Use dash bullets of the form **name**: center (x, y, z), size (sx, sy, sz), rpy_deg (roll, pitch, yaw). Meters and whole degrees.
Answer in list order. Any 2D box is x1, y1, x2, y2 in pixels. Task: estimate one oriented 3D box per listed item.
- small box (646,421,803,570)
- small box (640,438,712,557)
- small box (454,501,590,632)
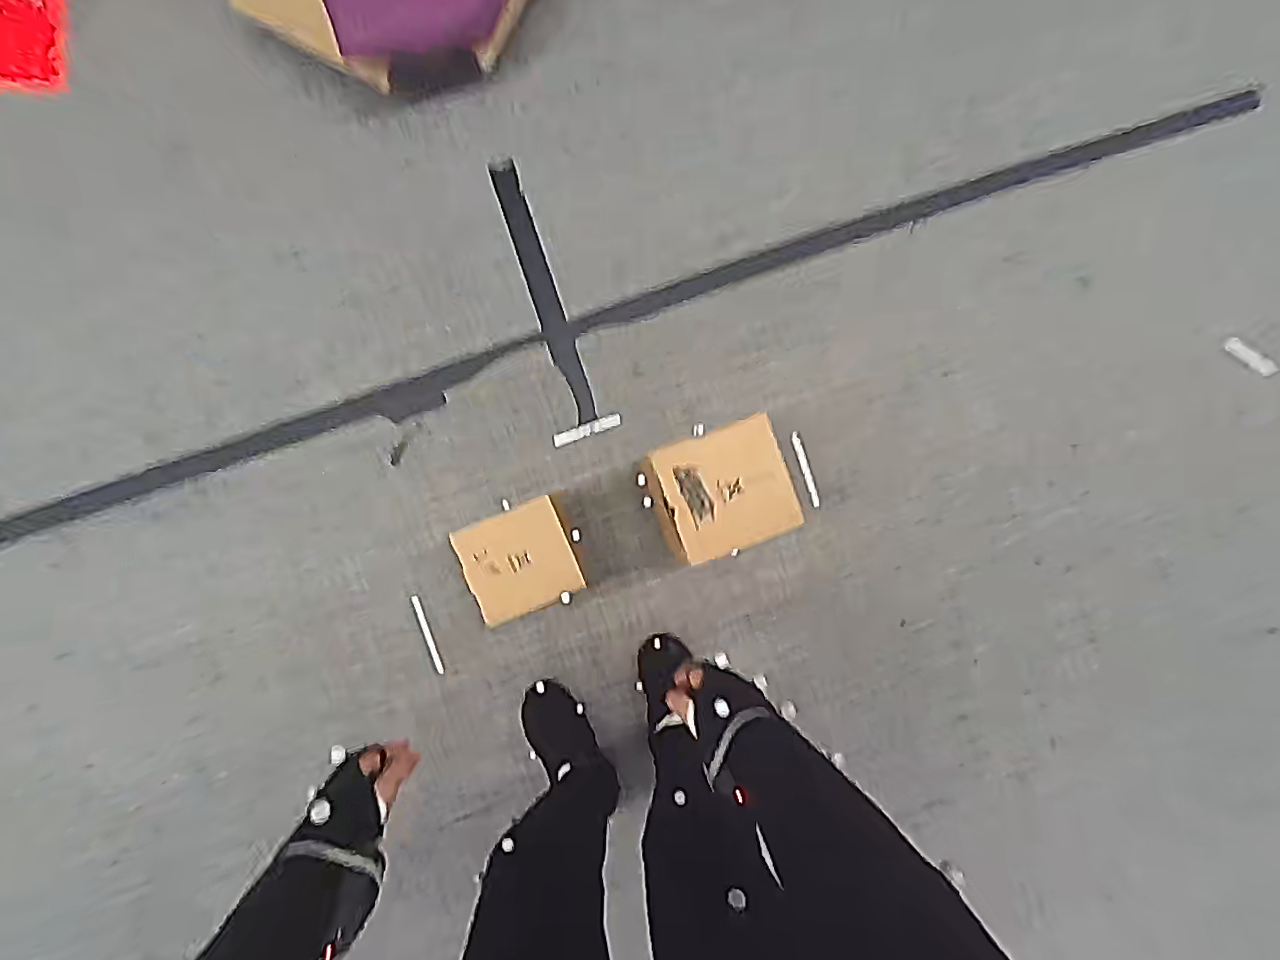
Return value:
- **small box**: center (0.115, 0.023, 0.824), size (0.179, 0.176, 0.168), rpy_deg (-20, 91, -6)
- **small box**: center (0.106, 0.024, 0.990), size (0.168, 0.176, 0.179), rpy_deg (-18, 92, -5)
- **small box**: center (-0.199, 0.142, 0.961), size (0.179, 0.176, 0.168), rpy_deg (-23, 91, -4)
